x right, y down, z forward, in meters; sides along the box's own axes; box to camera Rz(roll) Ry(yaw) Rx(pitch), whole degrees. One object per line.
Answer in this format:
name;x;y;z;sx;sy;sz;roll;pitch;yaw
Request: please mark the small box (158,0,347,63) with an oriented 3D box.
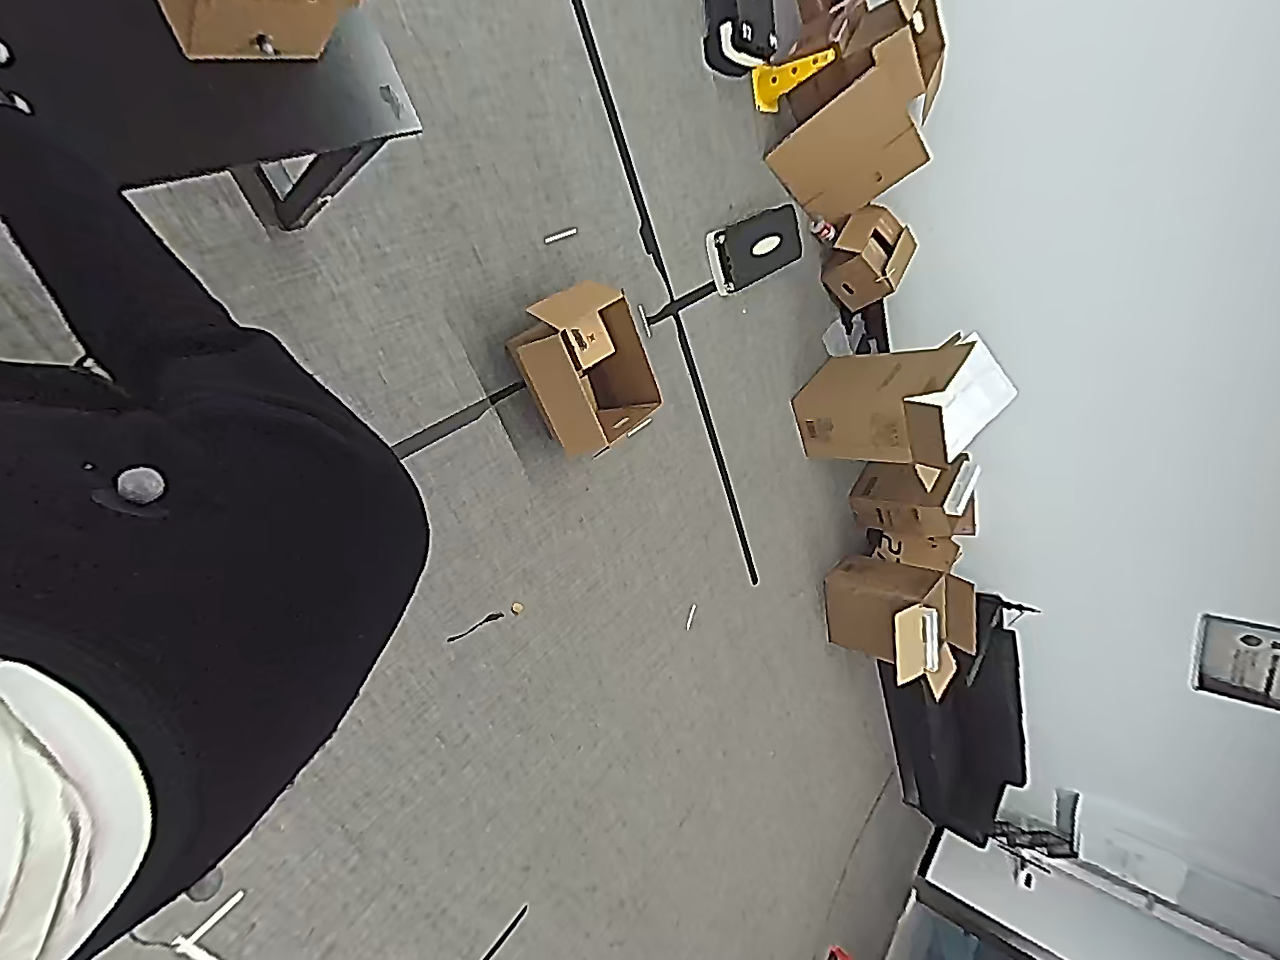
small box;-0.488;-0.637;0.641;0.168;0.176;0.179;-34;117;-35
